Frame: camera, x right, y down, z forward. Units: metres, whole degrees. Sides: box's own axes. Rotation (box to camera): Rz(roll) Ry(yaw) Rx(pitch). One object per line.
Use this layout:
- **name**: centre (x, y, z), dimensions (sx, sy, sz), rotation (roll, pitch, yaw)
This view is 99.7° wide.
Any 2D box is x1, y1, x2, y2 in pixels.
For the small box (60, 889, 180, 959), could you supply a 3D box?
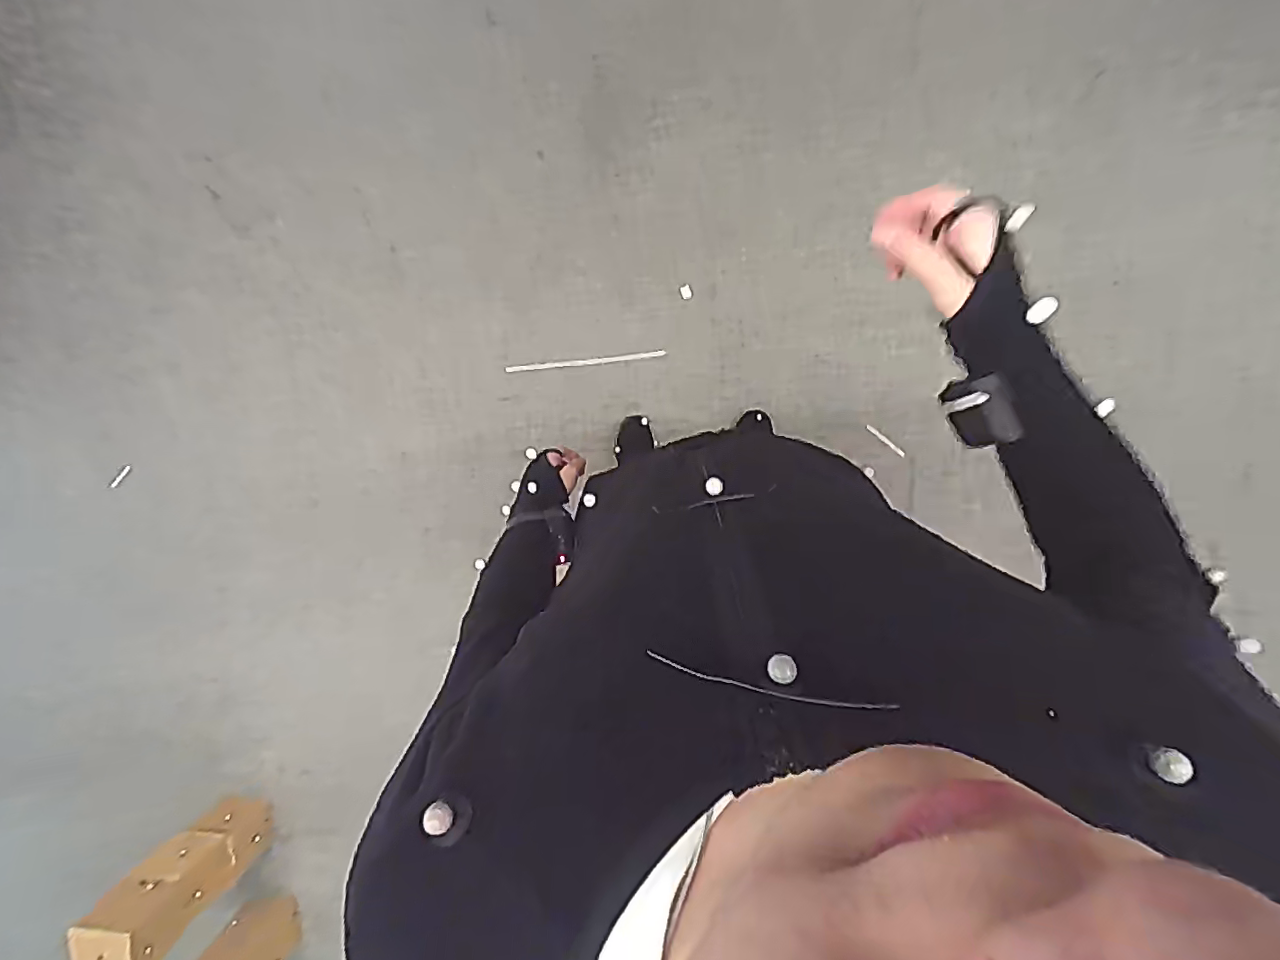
- **small box**: centre (-1.379, 1.250, 1.445), dimensions (0.168, 0.176, 0.179), rotation (5, 97, 2)

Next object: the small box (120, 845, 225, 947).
- **small box**: centre (-1.379, 1.227, 1.606), dimensions (0.168, 0.176, 0.179), rotation (1, 97, 4)

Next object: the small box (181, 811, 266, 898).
- **small box**: centre (-1.361, 1.219, 1.768), dimensions (0.179, 0.176, 0.168), rotation (3, 96, 2)
